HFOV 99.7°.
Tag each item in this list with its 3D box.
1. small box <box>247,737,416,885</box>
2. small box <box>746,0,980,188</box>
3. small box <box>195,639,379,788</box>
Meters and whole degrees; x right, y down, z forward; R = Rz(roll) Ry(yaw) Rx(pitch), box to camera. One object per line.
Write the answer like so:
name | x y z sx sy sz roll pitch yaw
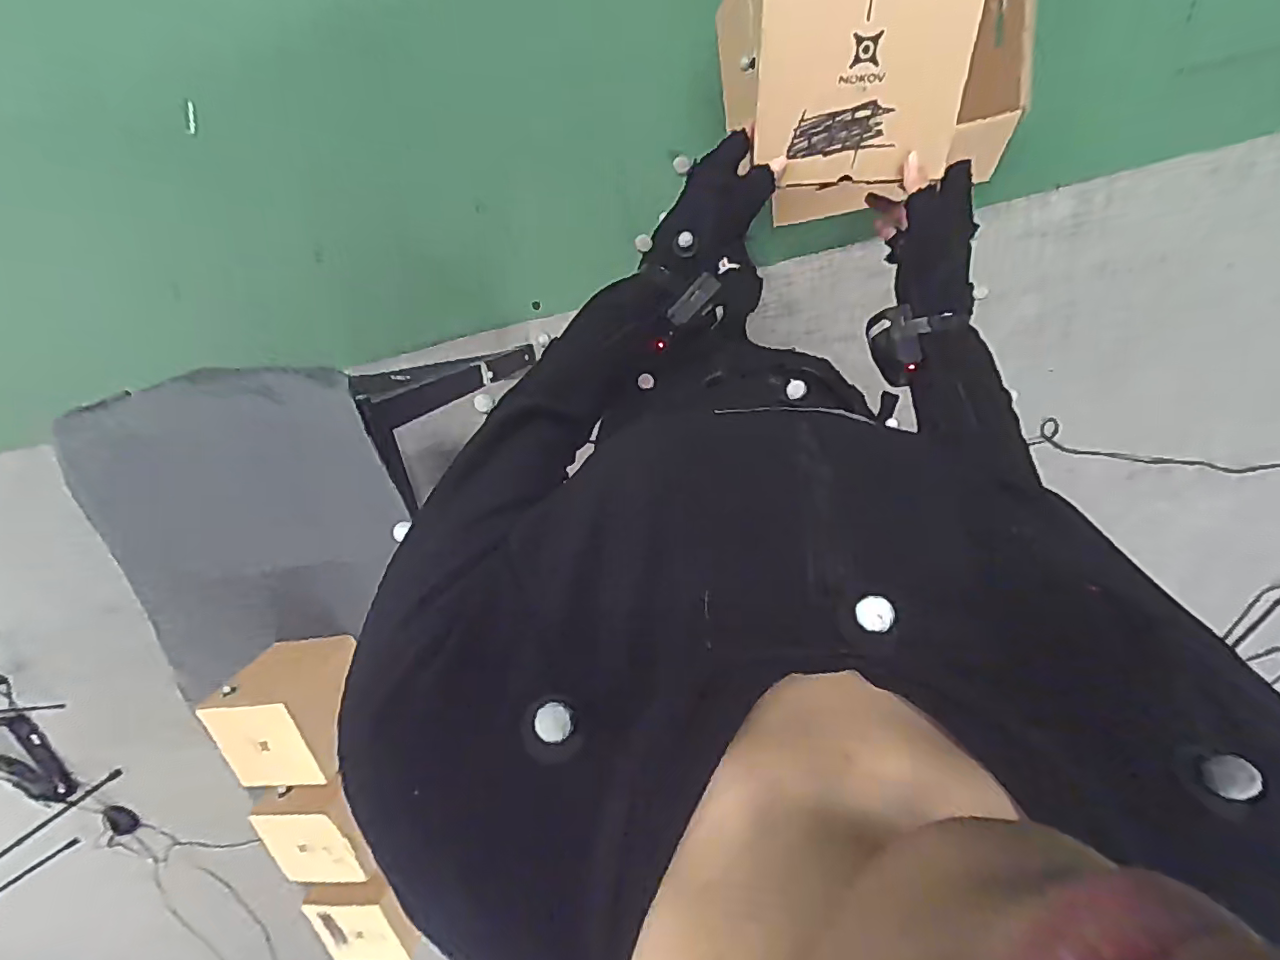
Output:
small box | -0.555 0.600 0.994 0.179 0.176 0.168 -11 109 14
small box | 0.187 -0.383 0.499 0.168 0.176 0.179 1 125 8
small box | -0.579 0.390 0.920 0.179 0.176 0.168 -10 109 14
